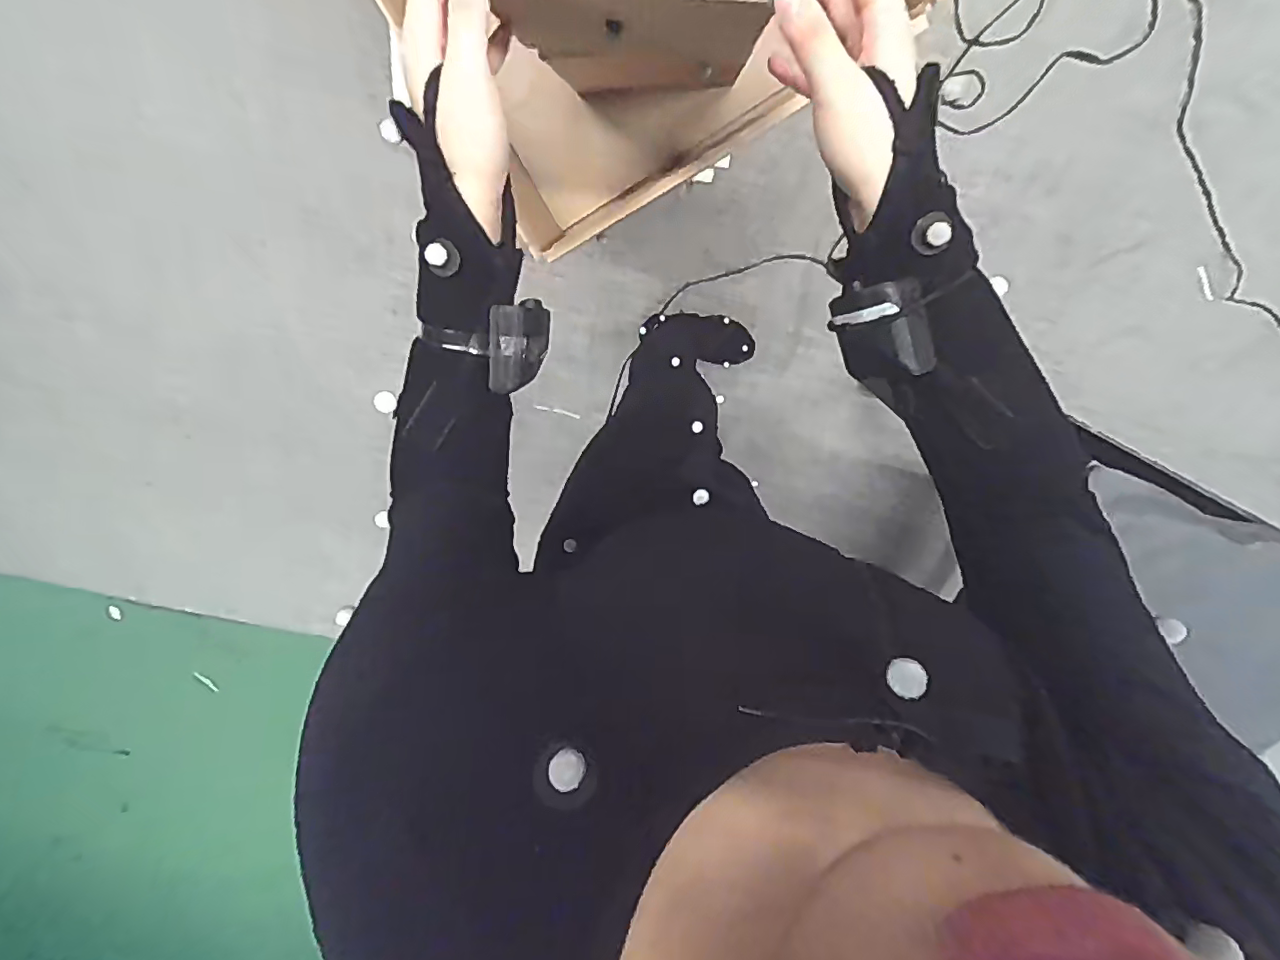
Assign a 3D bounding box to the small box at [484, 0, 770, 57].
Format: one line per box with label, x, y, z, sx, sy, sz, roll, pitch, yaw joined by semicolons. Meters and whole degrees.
small box;-0.004;-0.374;0.321;0.179;0.176;0.168;5;118;1
